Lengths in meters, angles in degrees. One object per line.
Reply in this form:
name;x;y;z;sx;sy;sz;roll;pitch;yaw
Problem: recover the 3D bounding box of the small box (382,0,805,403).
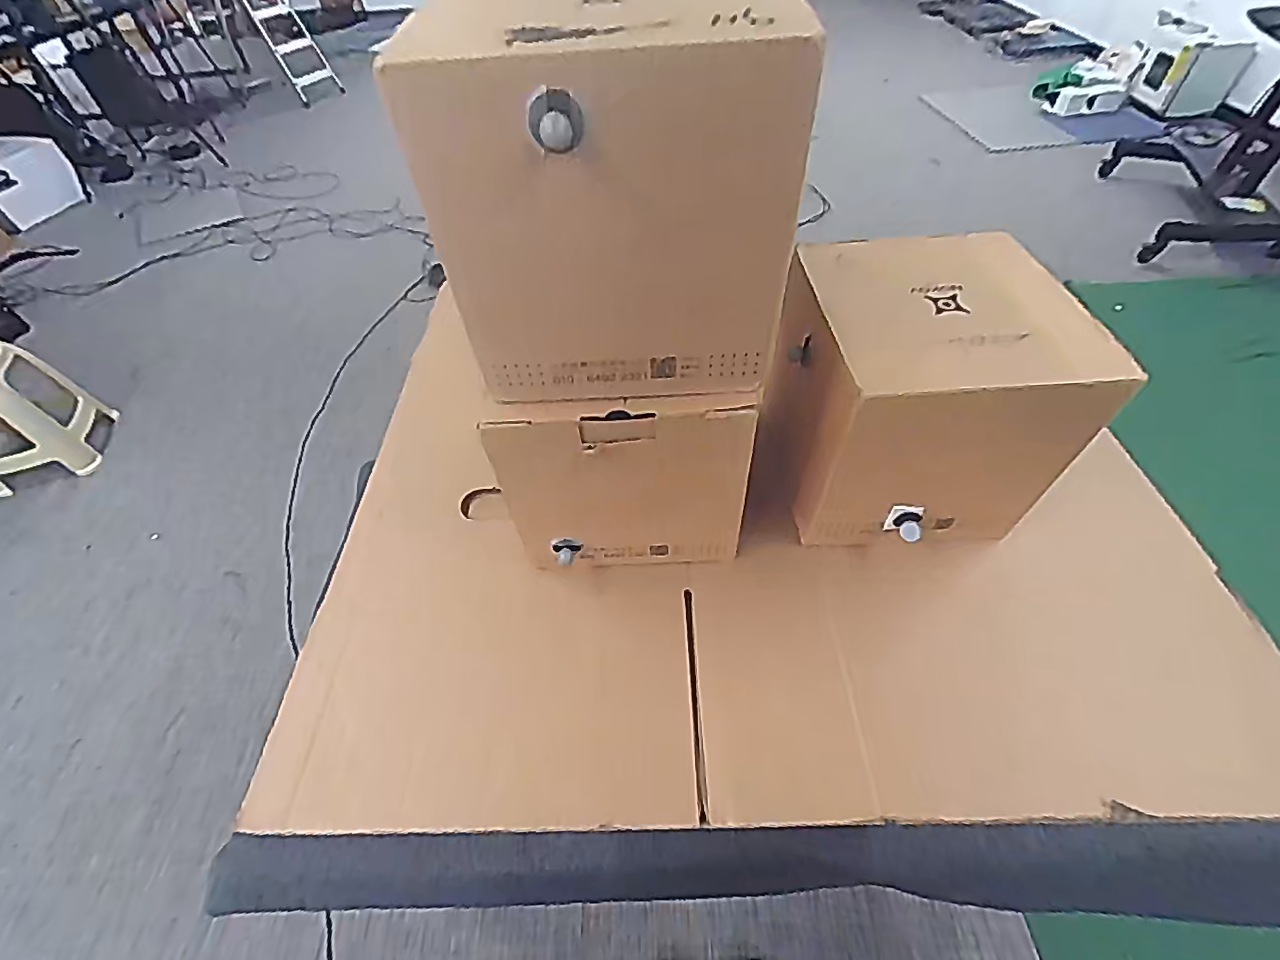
small box;-0.015;-0.165;0.318;0.168;0.176;0.179;-2;51;2
